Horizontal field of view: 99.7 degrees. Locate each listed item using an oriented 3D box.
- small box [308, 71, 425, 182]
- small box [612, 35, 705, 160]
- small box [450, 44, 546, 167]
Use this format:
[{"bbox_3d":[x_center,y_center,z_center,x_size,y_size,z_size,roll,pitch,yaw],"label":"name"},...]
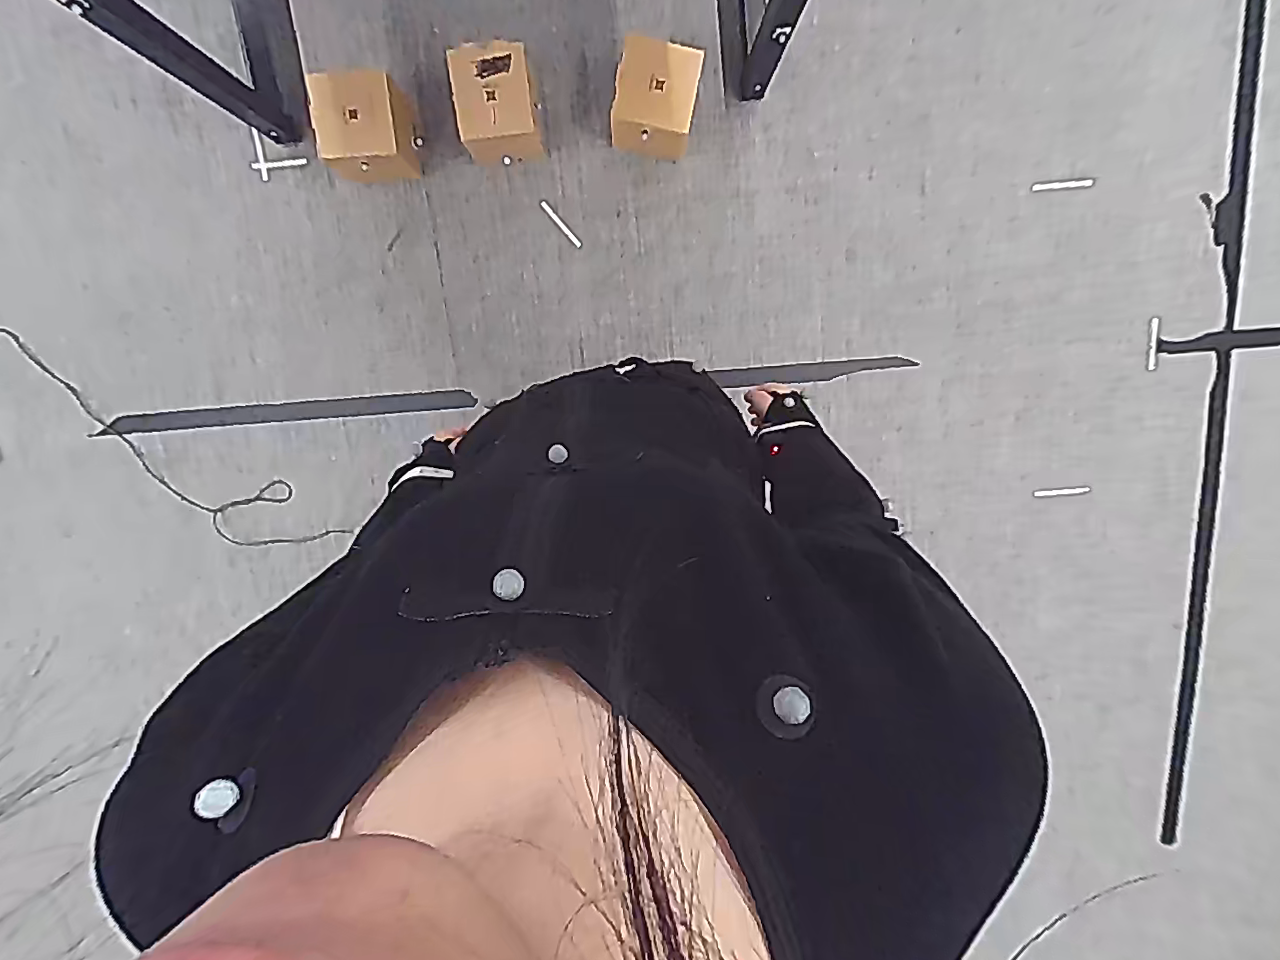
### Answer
[{"bbox_3d":[-0.620,-0.803,1.243,0.179,0.176,0.168,-3,102,-1],"label":"small box"},{"bbox_3d":[0.039,-0.864,1.241,0.179,0.176,0.168,12,102,-2],"label":"small box"},{"bbox_3d":[-0.317,-0.847,1.237,0.168,0.176,0.179,-6,102,1],"label":"small box"}]
